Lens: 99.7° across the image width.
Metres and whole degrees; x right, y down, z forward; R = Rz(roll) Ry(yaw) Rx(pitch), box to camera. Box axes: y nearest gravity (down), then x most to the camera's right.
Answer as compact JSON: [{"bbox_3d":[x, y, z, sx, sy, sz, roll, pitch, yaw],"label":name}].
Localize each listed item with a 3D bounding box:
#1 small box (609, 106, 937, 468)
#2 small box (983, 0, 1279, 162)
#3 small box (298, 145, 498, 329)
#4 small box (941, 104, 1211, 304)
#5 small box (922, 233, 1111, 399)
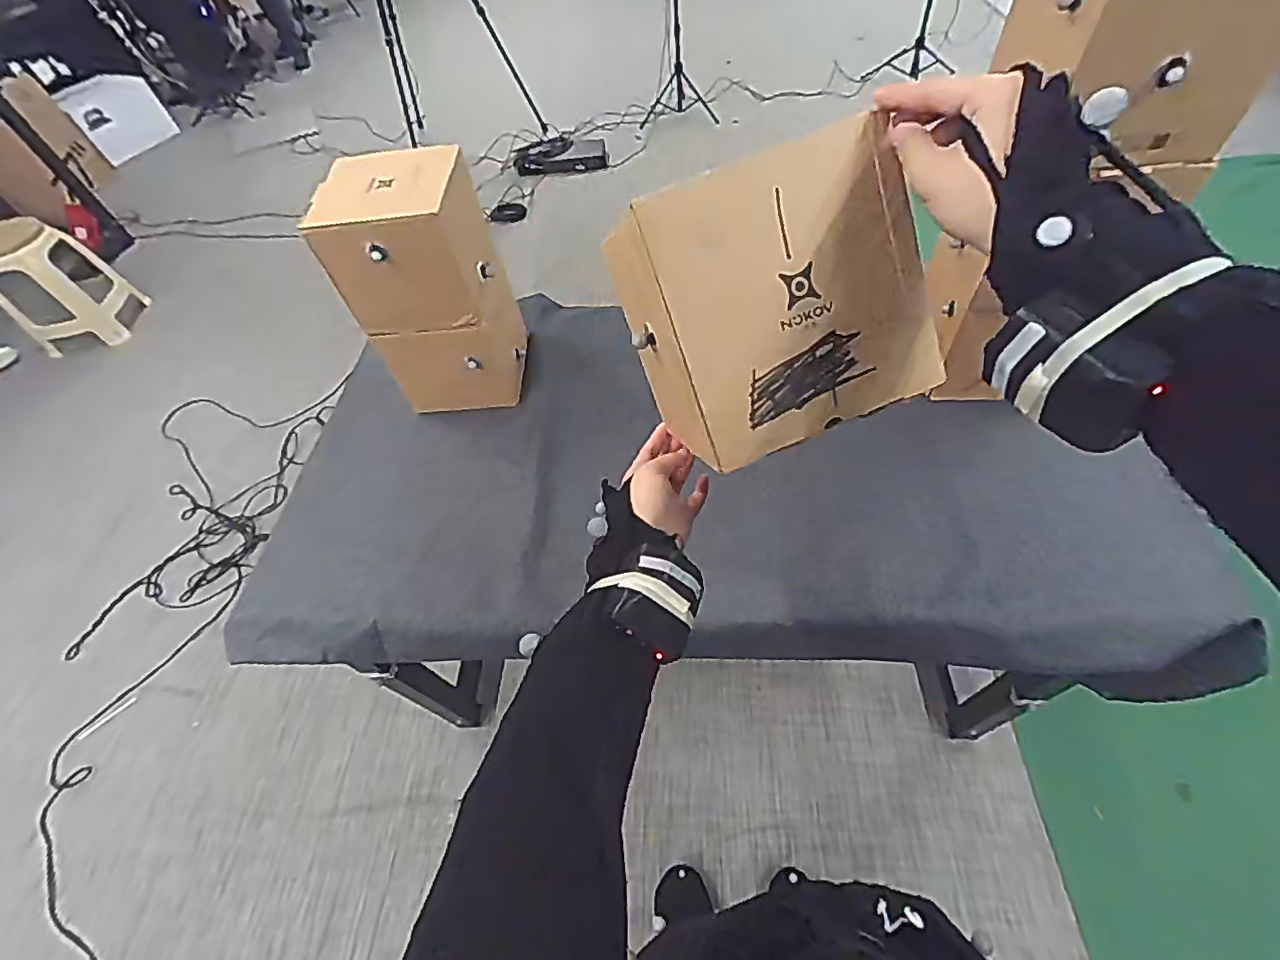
[{"bbox_3d":[0.084,-0.133,0.410,0.168,0.179,0.176,-21,16,-3],"label":"small box"},{"bbox_3d":[0.458,-0.418,0.503,0.168,0.176,0.179,0,56,7],"label":"small box"},{"bbox_3d":[-0.312,-0.324,0.740,0.179,0.176,0.168,-4,57,3],"label":"small box"},{"bbox_3d":[0.483,-0.325,0.638,0.168,0.176,0.179,1,57,8],"label":"small box"},{"bbox_3d":[0.504,-0.237,0.774,0.168,0.176,0.179,1,56,8],"label":"small box"}]
